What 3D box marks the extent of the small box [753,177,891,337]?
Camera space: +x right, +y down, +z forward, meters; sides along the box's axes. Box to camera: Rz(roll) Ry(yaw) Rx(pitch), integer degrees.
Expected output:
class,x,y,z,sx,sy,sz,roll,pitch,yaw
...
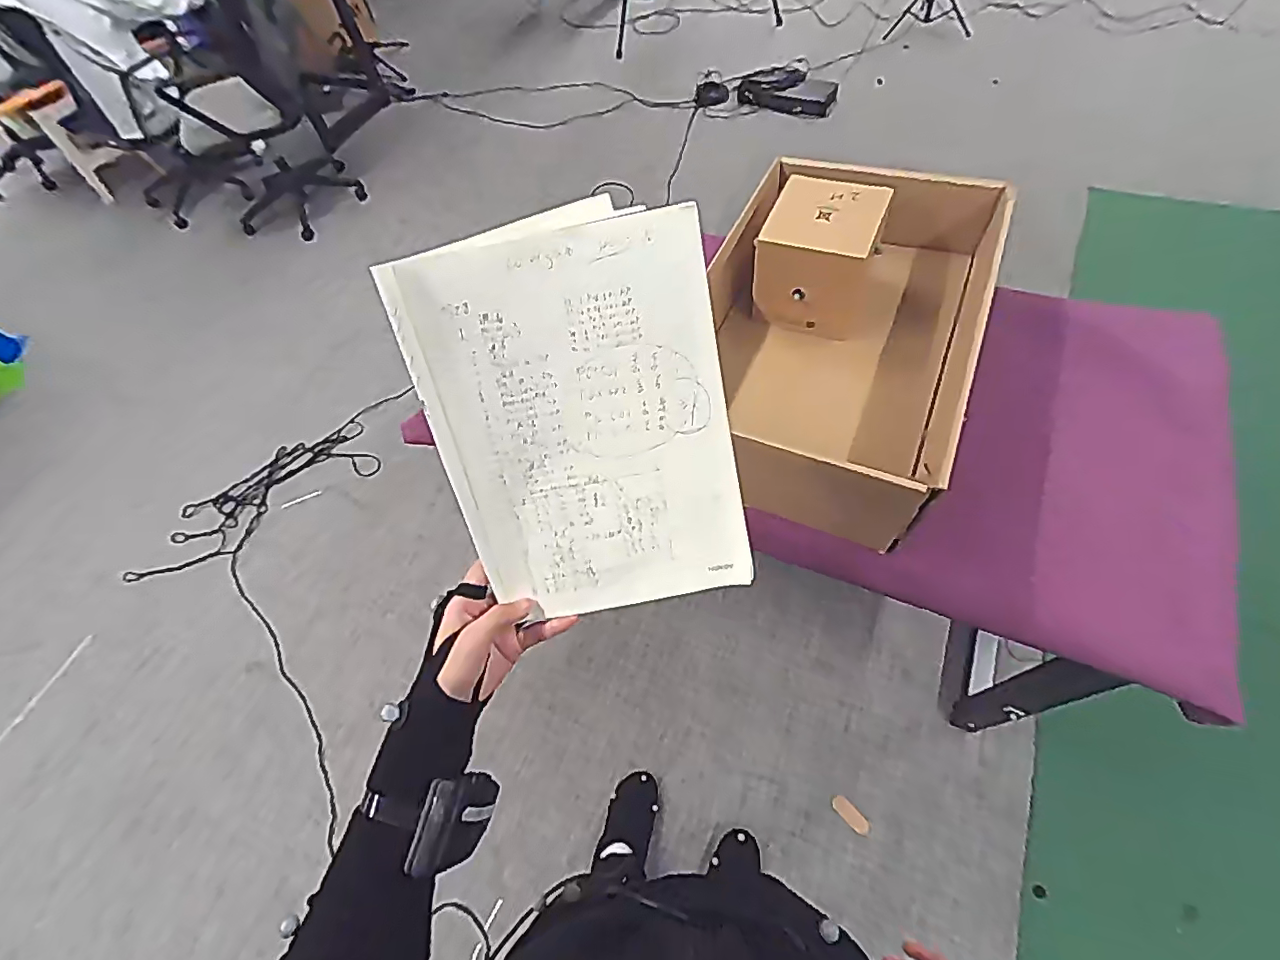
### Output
class,x,y,z,sx,sy,sz,roll,pitch,yaw
small box,0.296,-0.367,0.904,0.168,0.176,0.179,20,64,19
